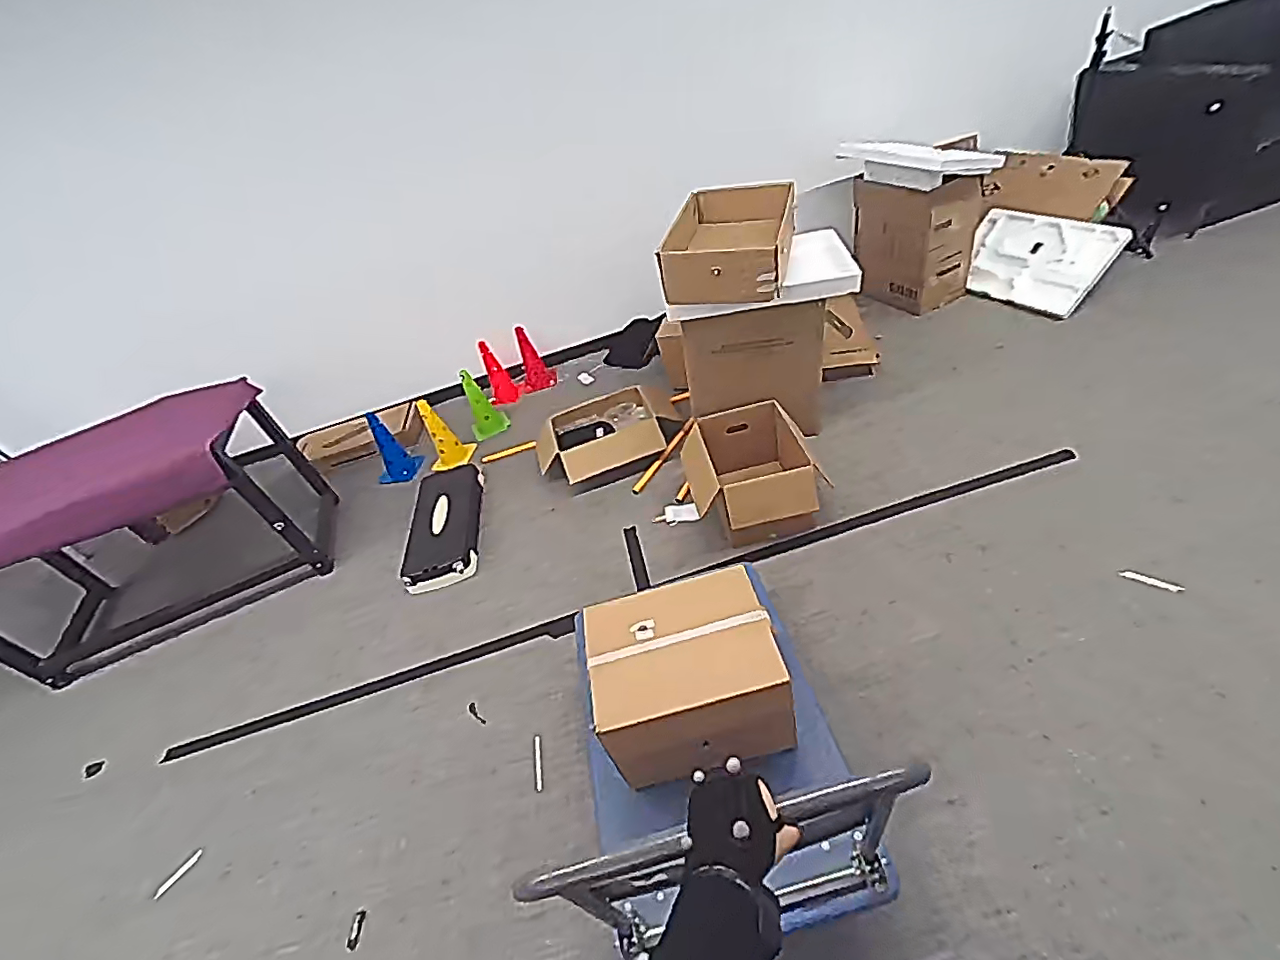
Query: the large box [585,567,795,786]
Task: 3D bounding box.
[{"bbox_3d":[0.116,0.470,1.293,0.408,0.320,0.320,-17,39,2],"label":"large box"}]
